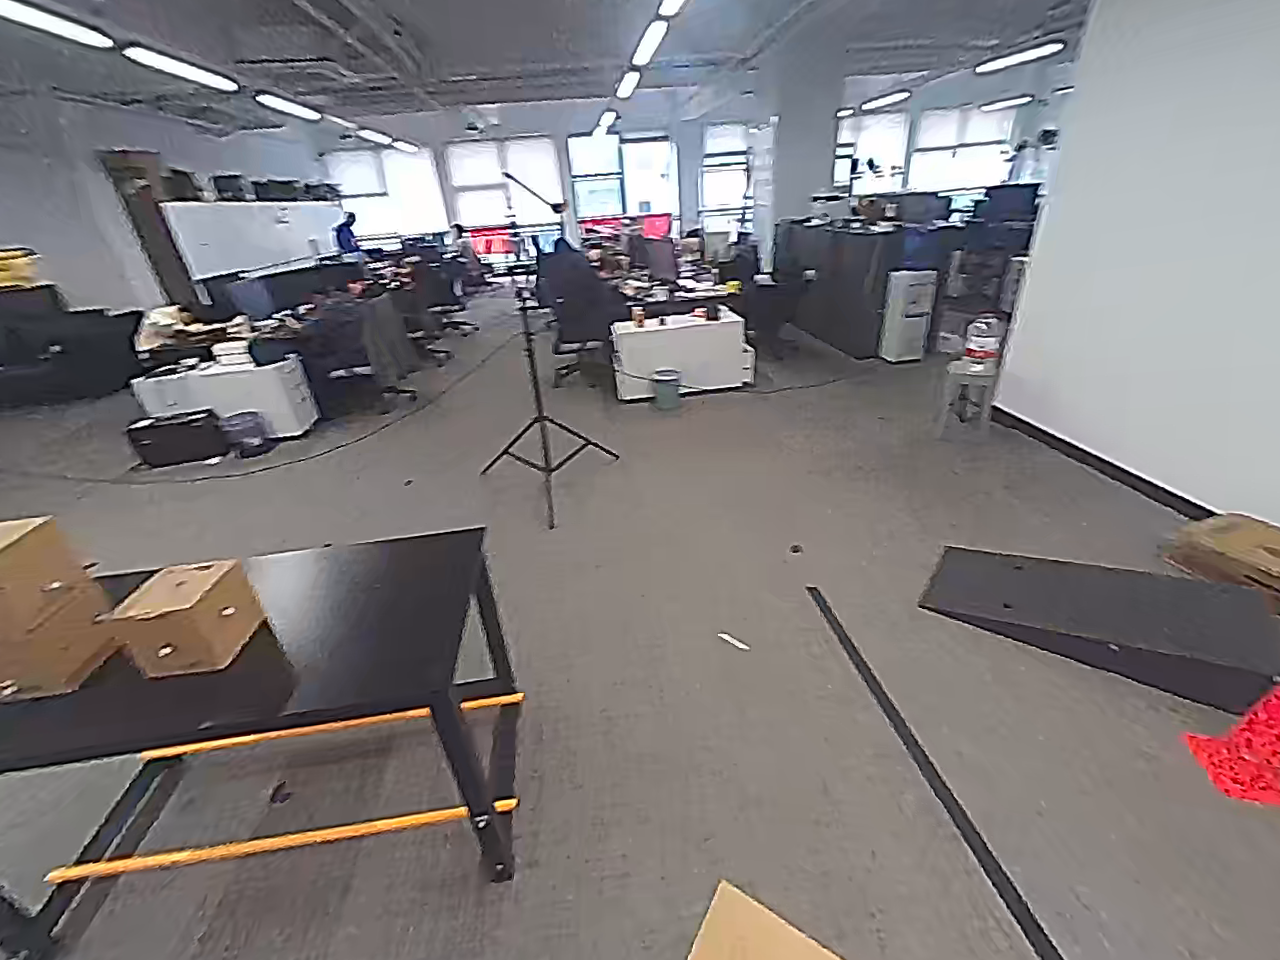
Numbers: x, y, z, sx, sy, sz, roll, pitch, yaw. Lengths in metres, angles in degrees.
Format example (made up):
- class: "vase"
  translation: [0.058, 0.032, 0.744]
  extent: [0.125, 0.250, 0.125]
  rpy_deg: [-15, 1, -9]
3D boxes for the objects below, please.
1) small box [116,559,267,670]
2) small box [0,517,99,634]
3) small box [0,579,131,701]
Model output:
- class: "small box"
  translation: [-0.971, 0.301, 1.195]
  extent: [0.168, 0.176, 0.179]
  rpy_deg: [-6, 28, -3]
- class: "small box"
  translation: [-1.278, 0.197, 1.089]
  extent: [0.179, 0.176, 0.168]
  rpy_deg: [-7, 28, -5]
- class: "small box"
  translation: [-1.266, 0.342, 1.166]
  extent: [0.168, 0.176, 0.179]
  rpy_deg: [-8, 29, -4]
